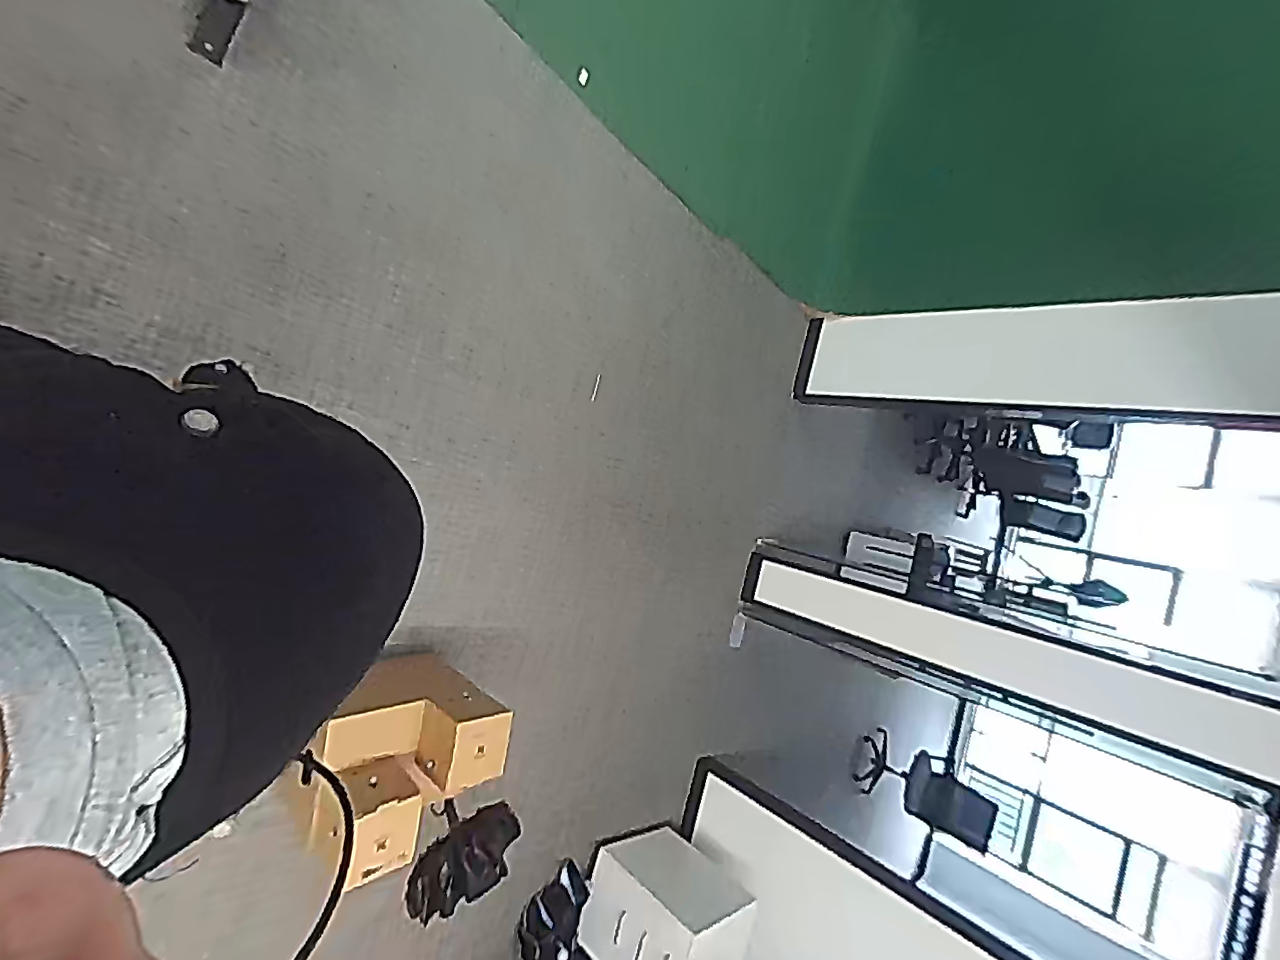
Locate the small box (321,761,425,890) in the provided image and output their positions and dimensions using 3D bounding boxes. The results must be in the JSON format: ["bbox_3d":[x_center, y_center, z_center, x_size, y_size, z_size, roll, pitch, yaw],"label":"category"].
[{"bbox_3d":[-0.630,0.795,1.273,0.168,0.176,0.179,5,96,-47],"label":"small box"}]

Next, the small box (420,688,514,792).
[{"bbox_3d":[-0.460,0.677,1.430,0.168,0.176,0.179,9,88,-48],"label":"small box"}]
